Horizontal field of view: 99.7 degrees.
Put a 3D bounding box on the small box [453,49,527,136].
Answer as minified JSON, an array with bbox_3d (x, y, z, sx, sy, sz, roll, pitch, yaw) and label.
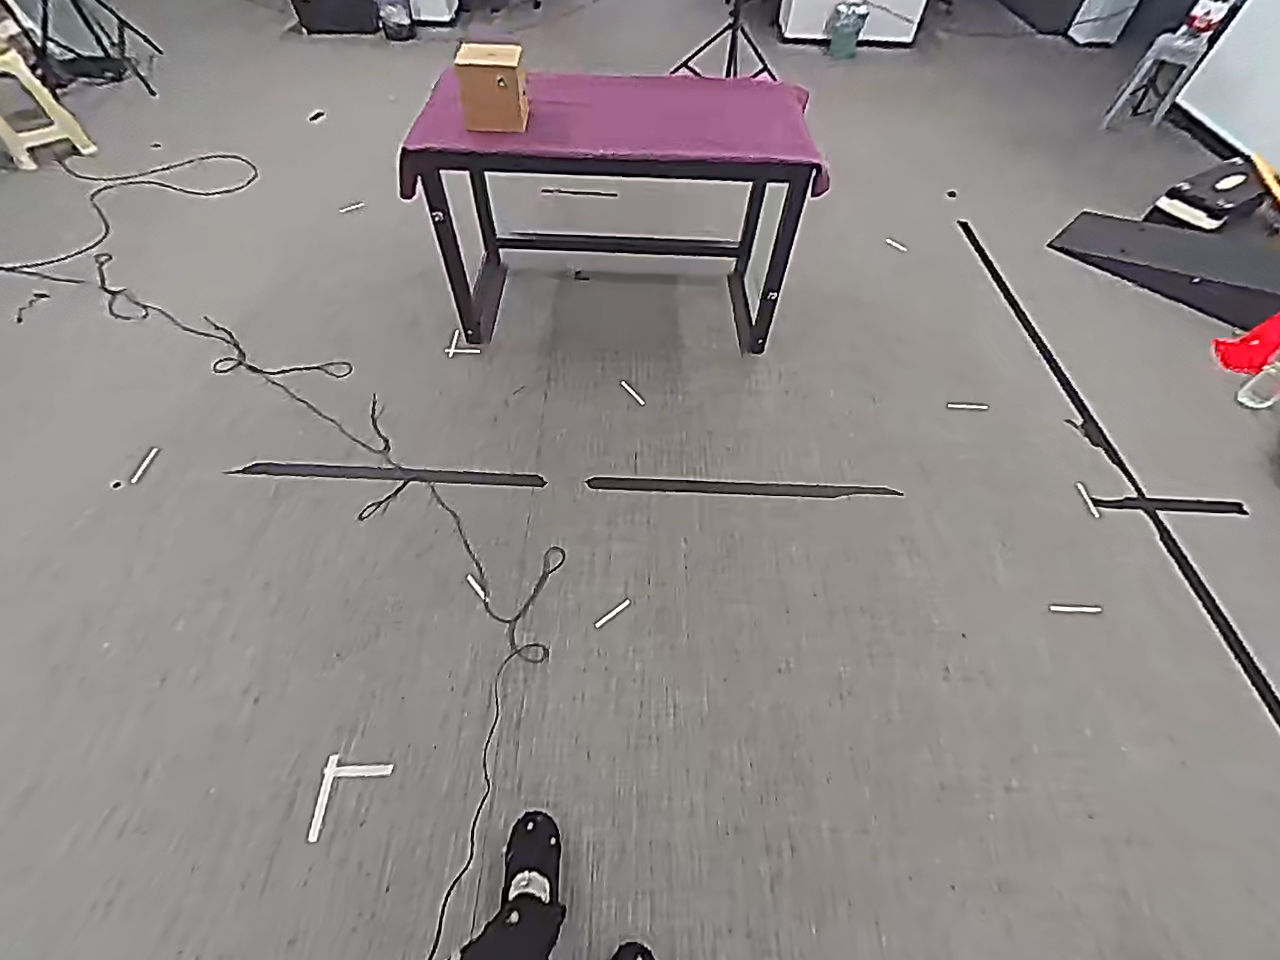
[{"bbox_3d":[-0.433,-1.140,1.598,0.179,0.176,0.168,-1,53,-3],"label":"small box"}]
